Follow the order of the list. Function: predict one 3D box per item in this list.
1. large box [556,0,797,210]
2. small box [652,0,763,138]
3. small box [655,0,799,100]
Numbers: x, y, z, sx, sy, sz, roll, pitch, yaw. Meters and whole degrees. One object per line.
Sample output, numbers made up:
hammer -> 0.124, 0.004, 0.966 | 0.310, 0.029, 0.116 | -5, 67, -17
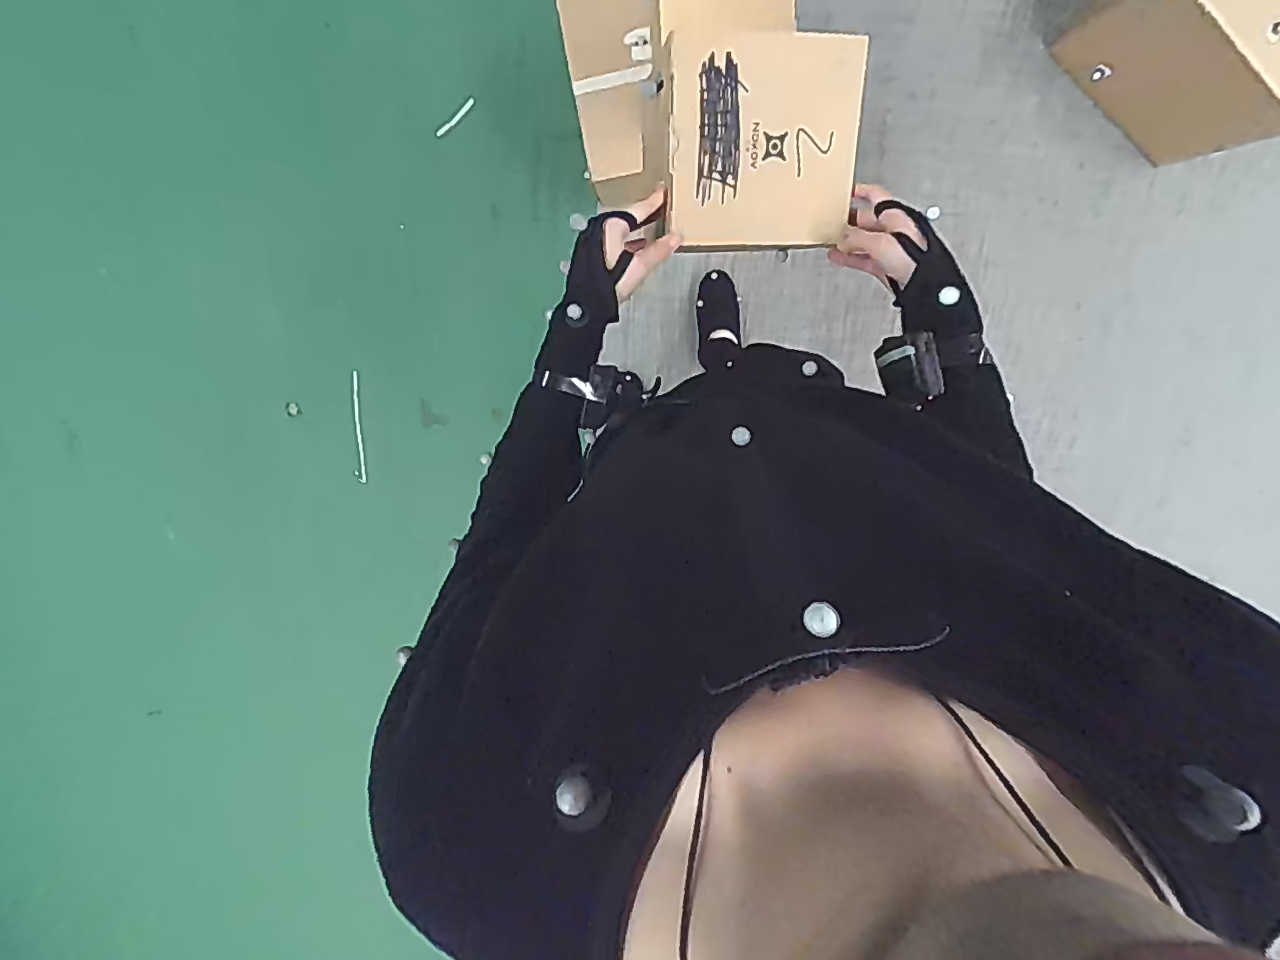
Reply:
large box -> 0.077, -0.789, 1.124 | 0.408, 0.320, 0.320 | -10, 106, 5
small box -> 0.107, -0.689, 0.898 | 0.168, 0.176, 0.179 | -5, 108, 1
small box -> 0.110, -0.647, 0.741 | 0.179, 0.176, 0.168 | -4, 108, 1
